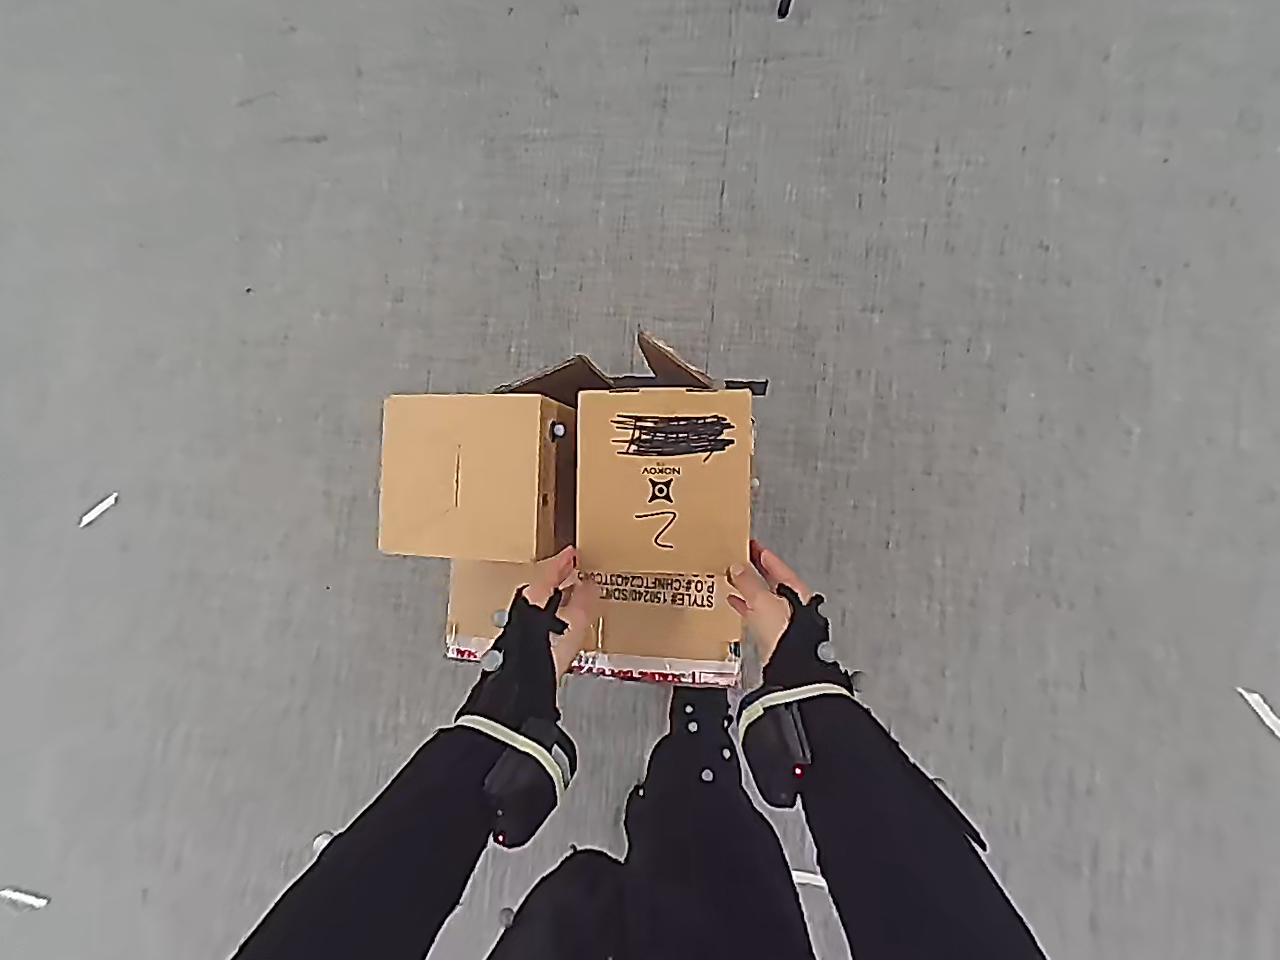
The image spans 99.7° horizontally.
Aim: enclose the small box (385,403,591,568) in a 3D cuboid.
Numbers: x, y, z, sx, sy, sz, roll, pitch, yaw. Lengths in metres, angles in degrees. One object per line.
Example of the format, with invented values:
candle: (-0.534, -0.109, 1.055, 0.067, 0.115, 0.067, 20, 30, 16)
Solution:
small box: (-0.165, 0.007, 0.626, 0.179, 0.176, 0.168, 2, 89, 11)
